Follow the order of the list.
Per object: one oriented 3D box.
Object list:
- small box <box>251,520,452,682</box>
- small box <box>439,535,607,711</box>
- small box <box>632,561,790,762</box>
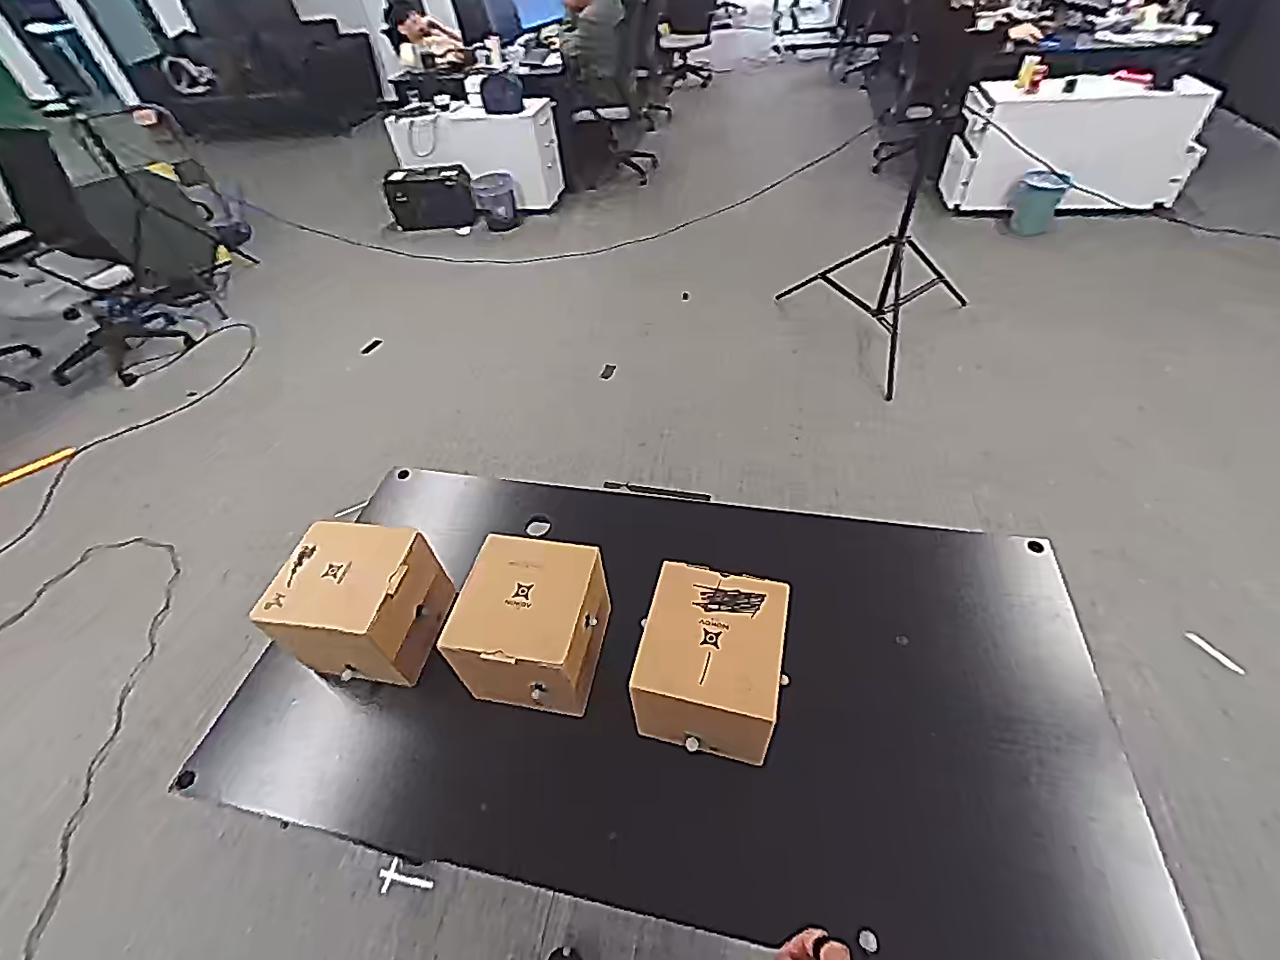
[{"bbox_3d":[-0.406,0.182,0.802,0.179,0.176,0.168,5,48,8],"label":"small box"},{"bbox_3d":[-0.148,0.203,0.762,0.168,0.176,0.179,6,47,9],"label":"small box"},{"bbox_3d":[0.094,0.236,0.707,0.168,0.176,0.179,9,50,13],"label":"small box"}]
